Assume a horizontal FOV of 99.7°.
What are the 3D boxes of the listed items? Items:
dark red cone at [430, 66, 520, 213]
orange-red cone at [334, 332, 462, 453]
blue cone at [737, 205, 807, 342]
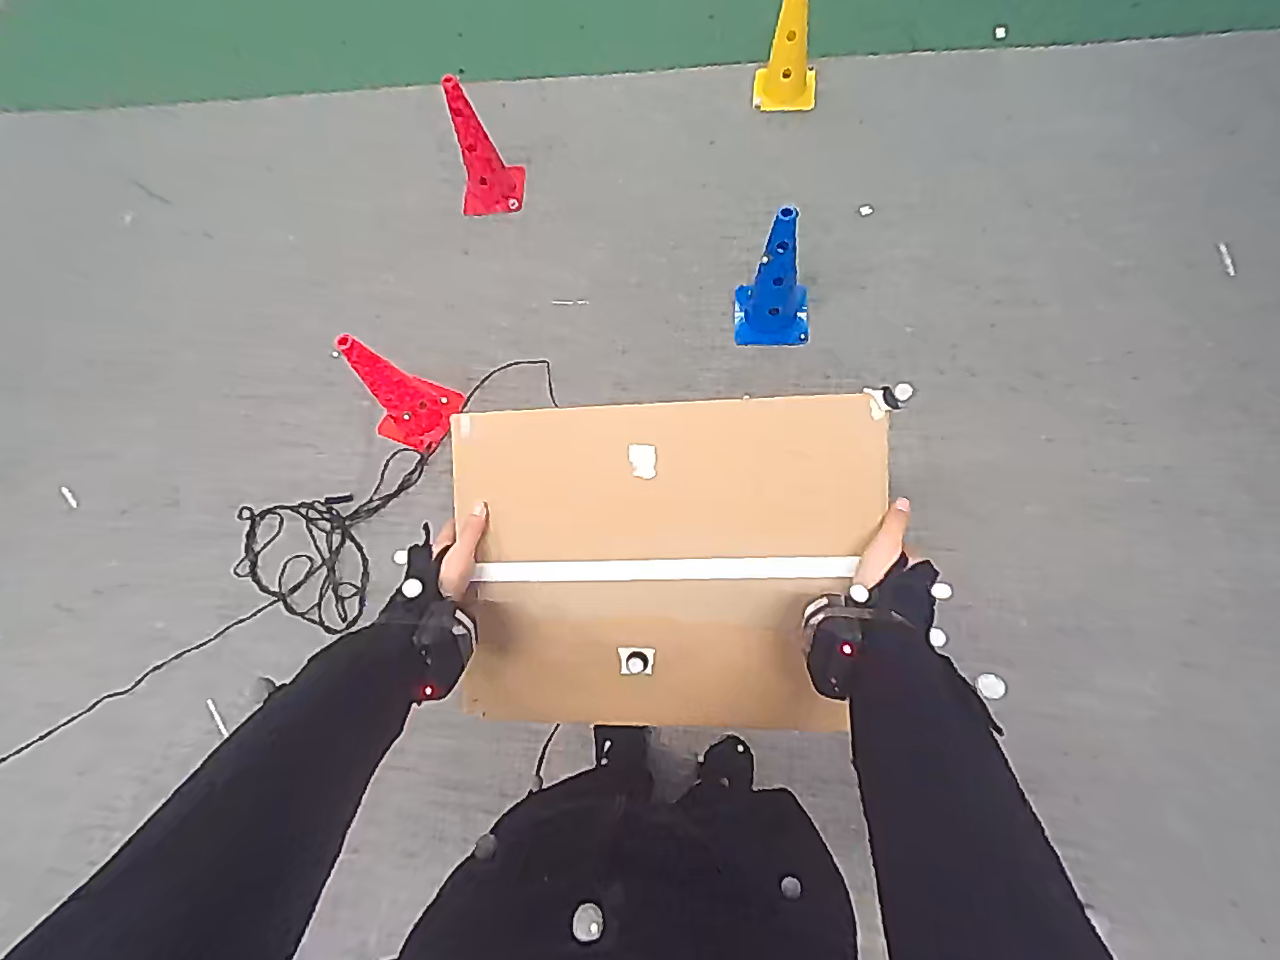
[{"bbox_3d":[-0.518,-1.029,1.633,0.202,0.394,0.201,-5,65,6],"label":"dark red cone"},{"bbox_3d":[-0.644,-0.247,1.367,0.199,0.360,0.198,21,72,16],"label":"orange-red cone"},{"bbox_3d":[0.347,-0.525,1.357,0.192,0.380,0.193,2,69,8],"label":"blue cone"}]
